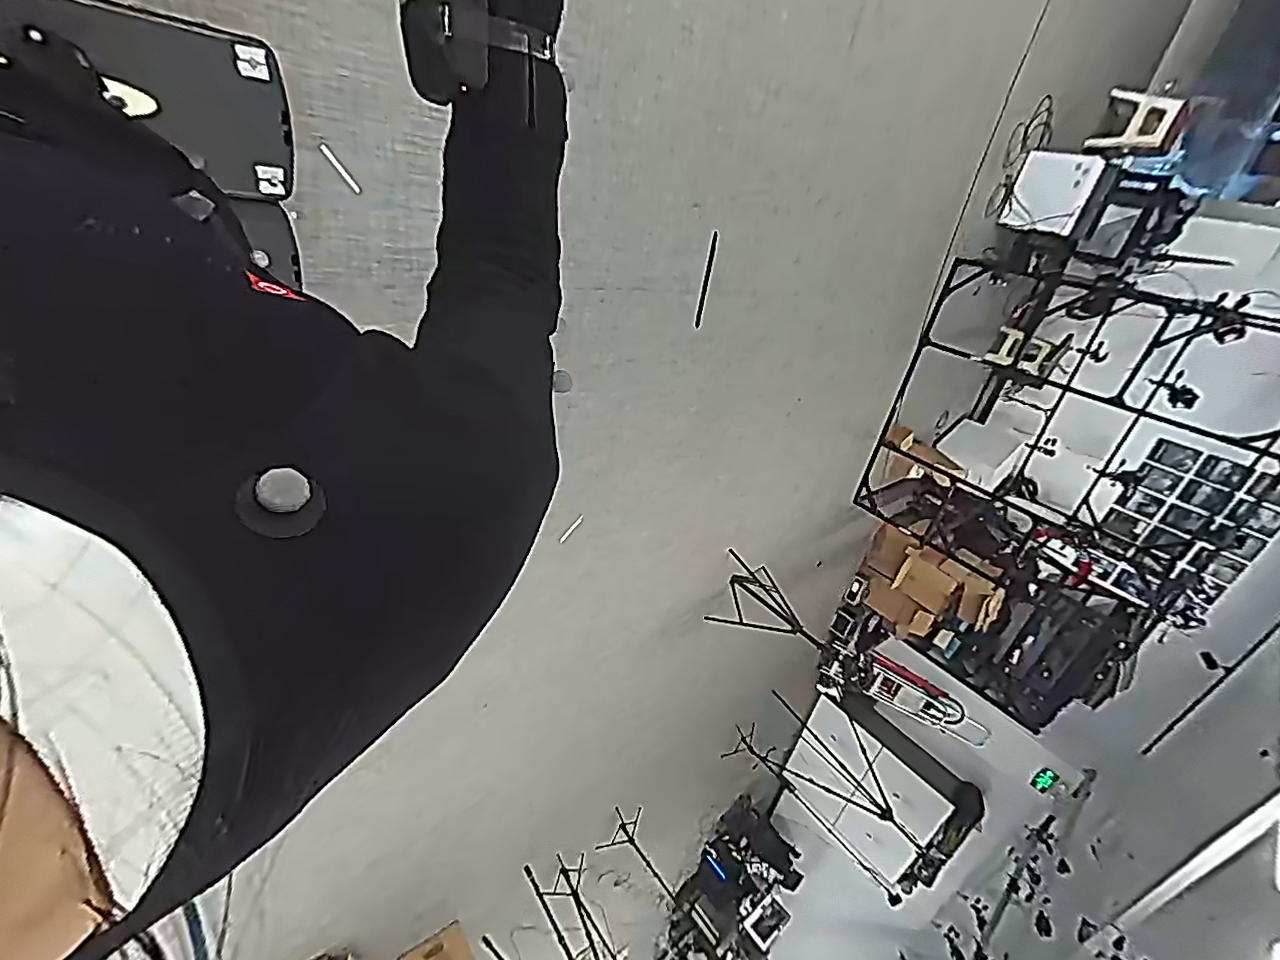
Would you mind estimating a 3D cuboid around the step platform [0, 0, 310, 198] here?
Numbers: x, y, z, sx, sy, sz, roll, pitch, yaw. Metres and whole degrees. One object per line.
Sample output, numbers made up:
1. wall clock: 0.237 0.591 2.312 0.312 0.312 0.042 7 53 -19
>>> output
1. step platform: -0.985 -0.693 0.956 0.684 0.204 0.286 -17 129 -39
